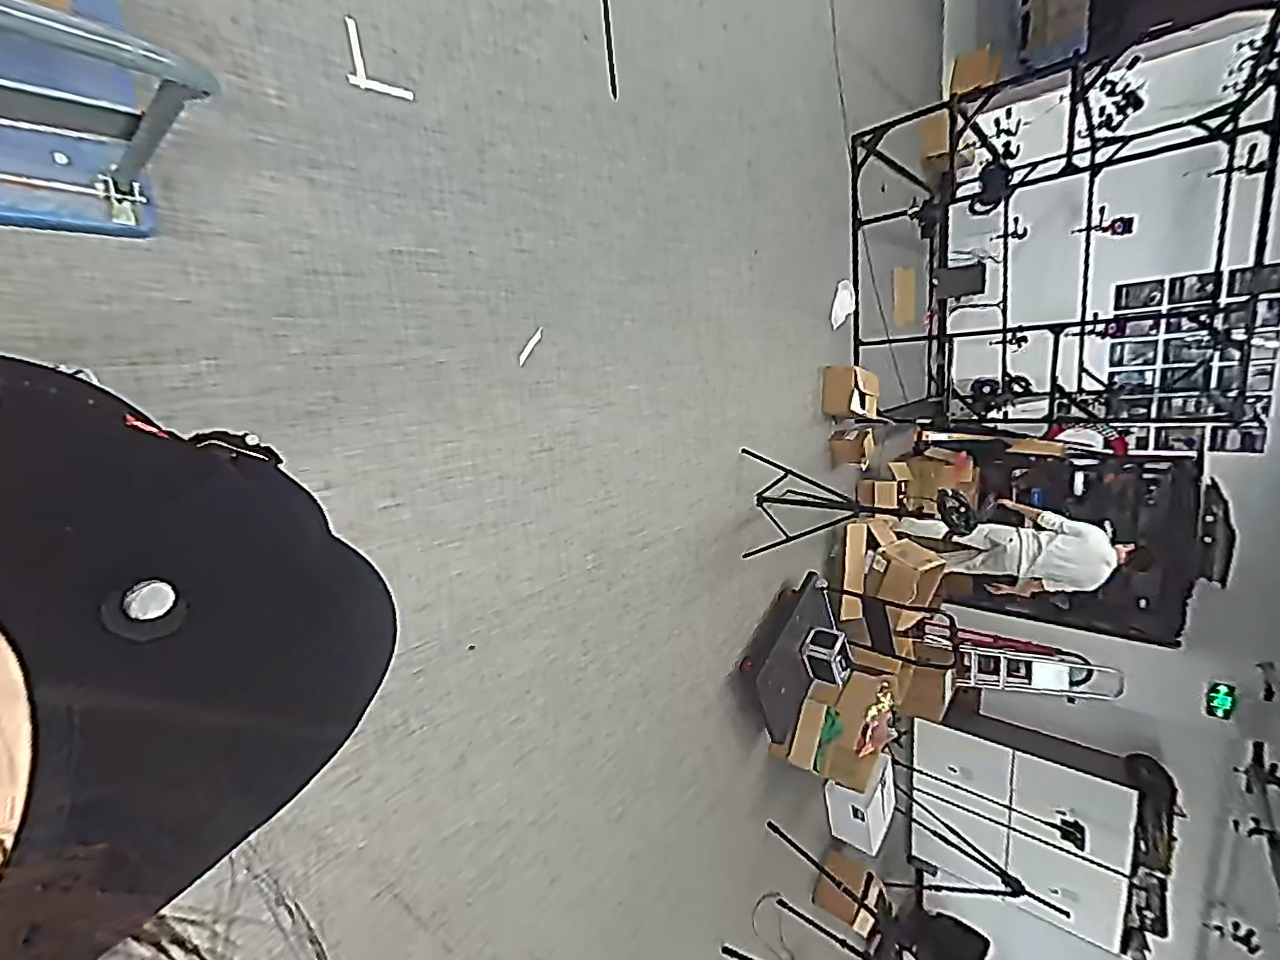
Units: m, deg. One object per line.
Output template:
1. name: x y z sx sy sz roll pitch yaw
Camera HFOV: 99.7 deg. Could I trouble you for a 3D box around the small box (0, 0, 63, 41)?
1. small box: -0.966 -0.771 0.766 0.179 0.176 0.168 -22 110 -45
